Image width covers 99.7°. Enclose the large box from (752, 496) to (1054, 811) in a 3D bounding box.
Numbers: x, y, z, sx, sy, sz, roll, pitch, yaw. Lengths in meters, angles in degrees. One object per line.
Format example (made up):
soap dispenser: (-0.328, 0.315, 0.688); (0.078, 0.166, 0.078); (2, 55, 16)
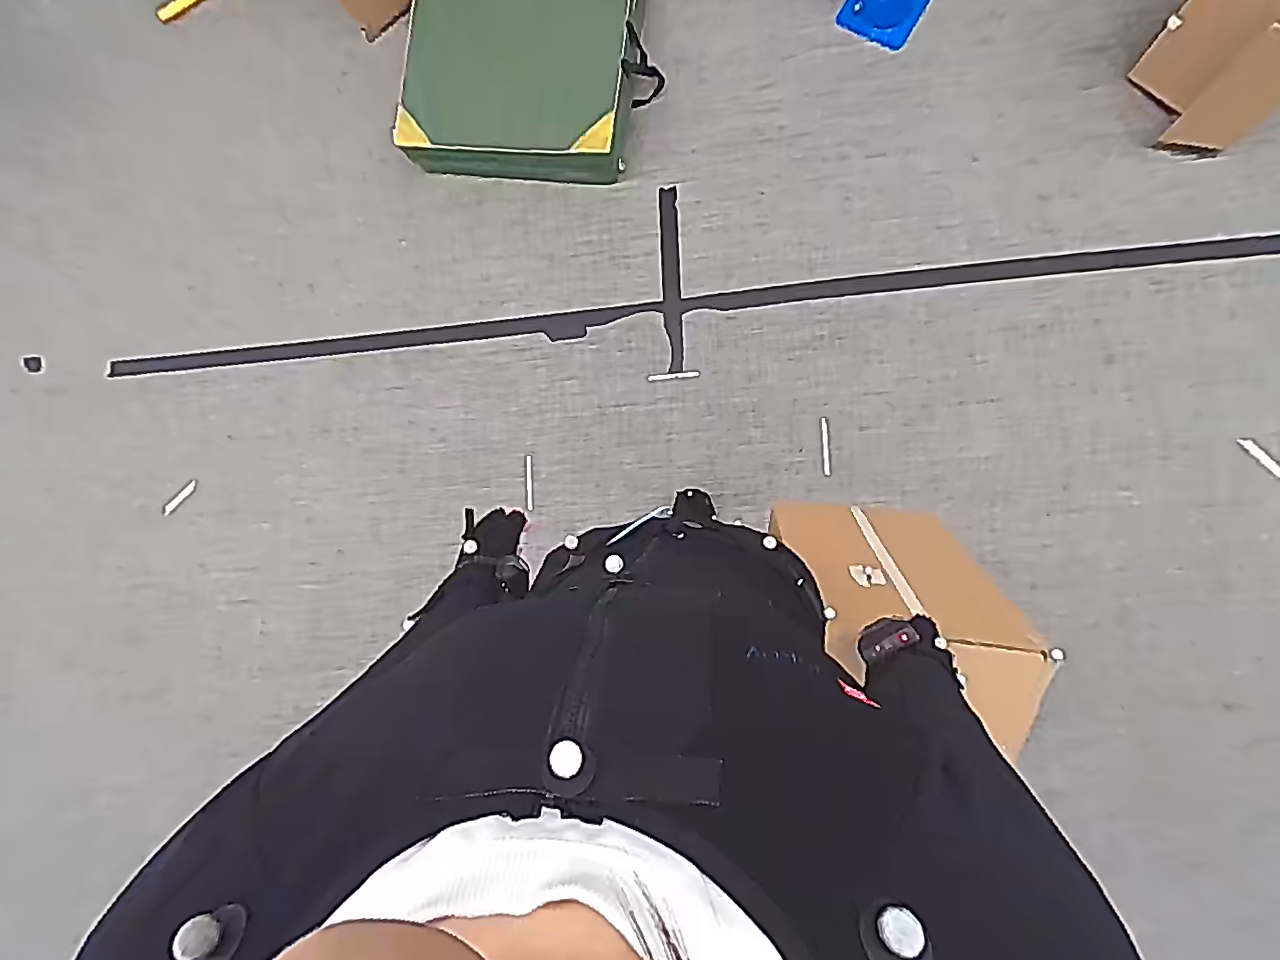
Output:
large box: (0.382, 0.263, 0.930); (0.320, 0.408, 0.320); (5, 114, 5)
